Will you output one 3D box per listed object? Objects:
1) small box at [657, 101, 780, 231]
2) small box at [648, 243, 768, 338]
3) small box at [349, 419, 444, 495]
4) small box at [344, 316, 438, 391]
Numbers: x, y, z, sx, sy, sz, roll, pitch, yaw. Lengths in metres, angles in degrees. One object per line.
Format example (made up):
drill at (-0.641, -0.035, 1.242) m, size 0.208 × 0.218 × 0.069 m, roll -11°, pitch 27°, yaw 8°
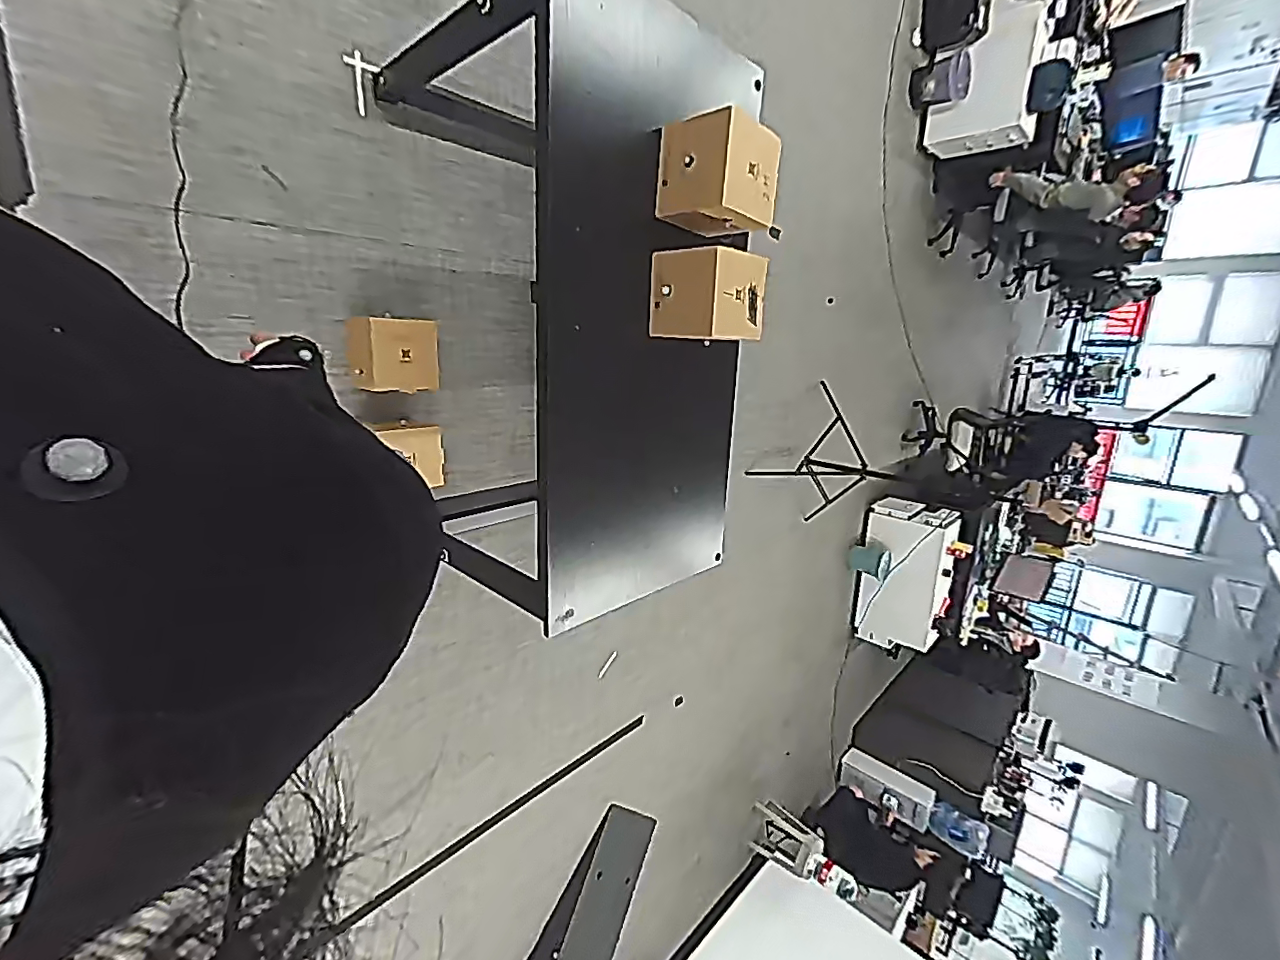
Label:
small box at (0.151, -0.602, 1.066) m, size 0.179 × 0.176 × 0.168 m, roll -8°, pitch 107°, yaw -46°
small box at (0.139, -0.383, 1.114) m, size 0.179 × 0.176 × 0.168 m, roll -13°, pitch 111°, yaw -43°
small box at (-0.649, -0.069, 1.445) m, size 0.179 × 0.176 × 0.168 m, roll -13°, pitch 110°, yaw -45°
small box at (-0.638, -0.325, 1.387) m, size 0.168 × 0.176 × 0.179 m, roll -13°, pitch 109°, yaw -46°
